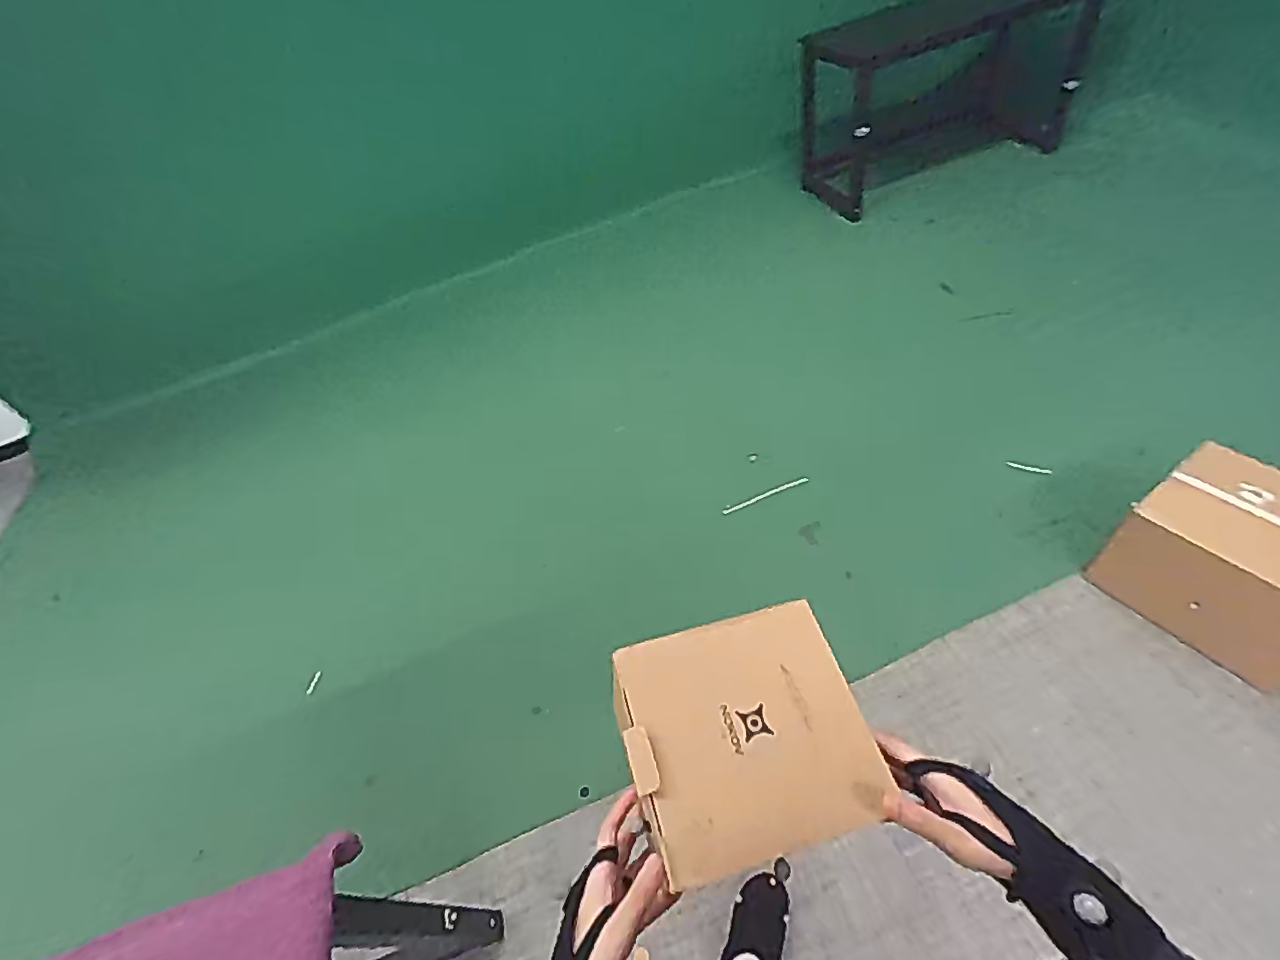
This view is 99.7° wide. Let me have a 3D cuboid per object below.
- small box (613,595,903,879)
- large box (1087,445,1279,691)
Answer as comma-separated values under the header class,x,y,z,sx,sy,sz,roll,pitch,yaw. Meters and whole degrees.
class,x,y,z,sx,sy,sz,roll,pitch,yaw
small box,0.082,0.227,0.472,0.179,0.176,0.168,-13,56,-8
large box,1.395,0.196,1.258,0.320,0.320,0.408,-33,48,-14
